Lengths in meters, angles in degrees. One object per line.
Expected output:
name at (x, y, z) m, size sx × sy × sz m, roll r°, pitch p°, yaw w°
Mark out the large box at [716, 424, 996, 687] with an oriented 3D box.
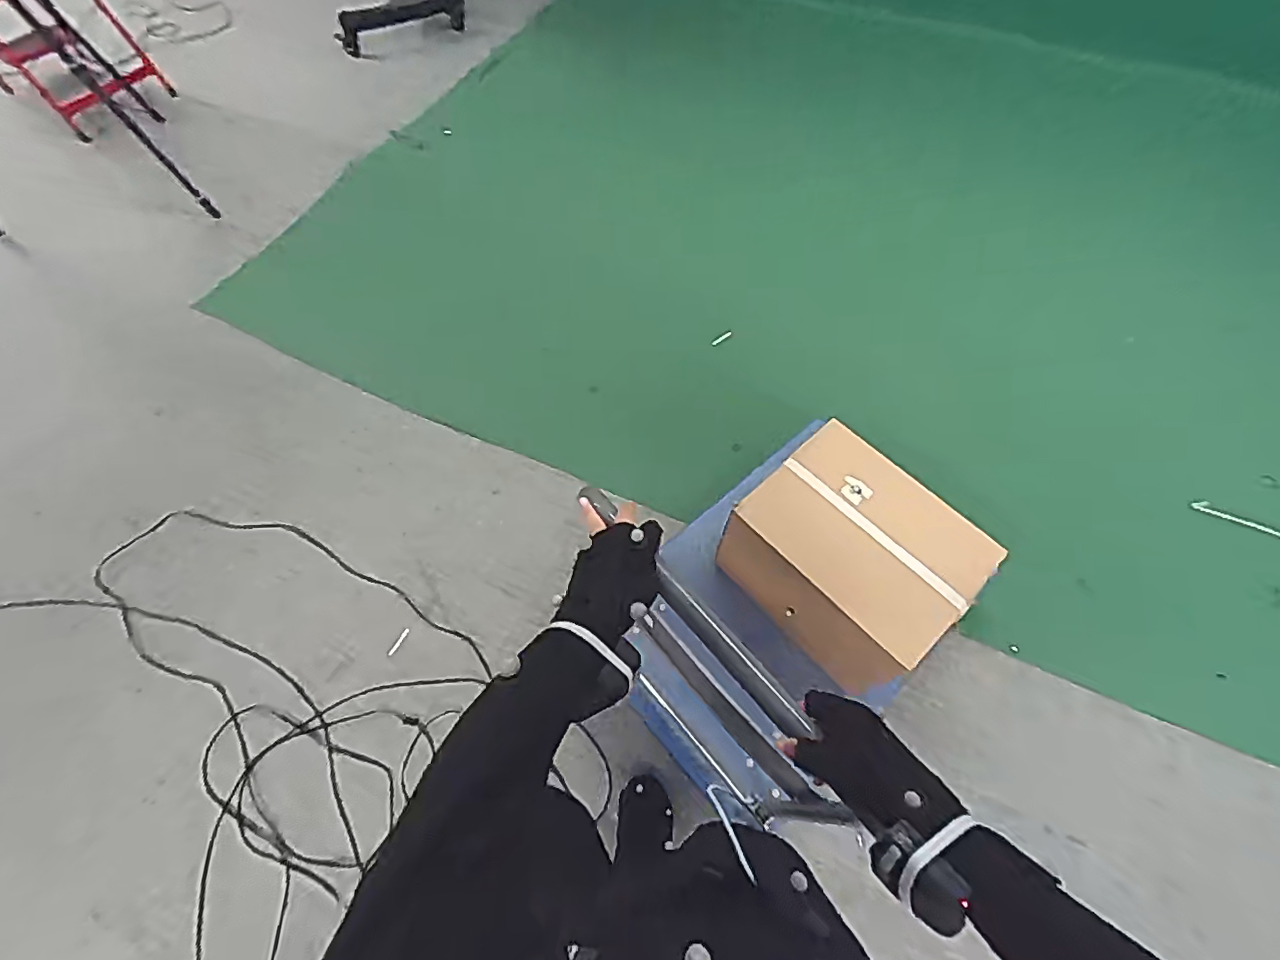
large box at (0.421, 0.167, 1.153) m, size 0.320 × 0.320 × 0.408 m, roll -39°, pitch 68°, yaw -19°
